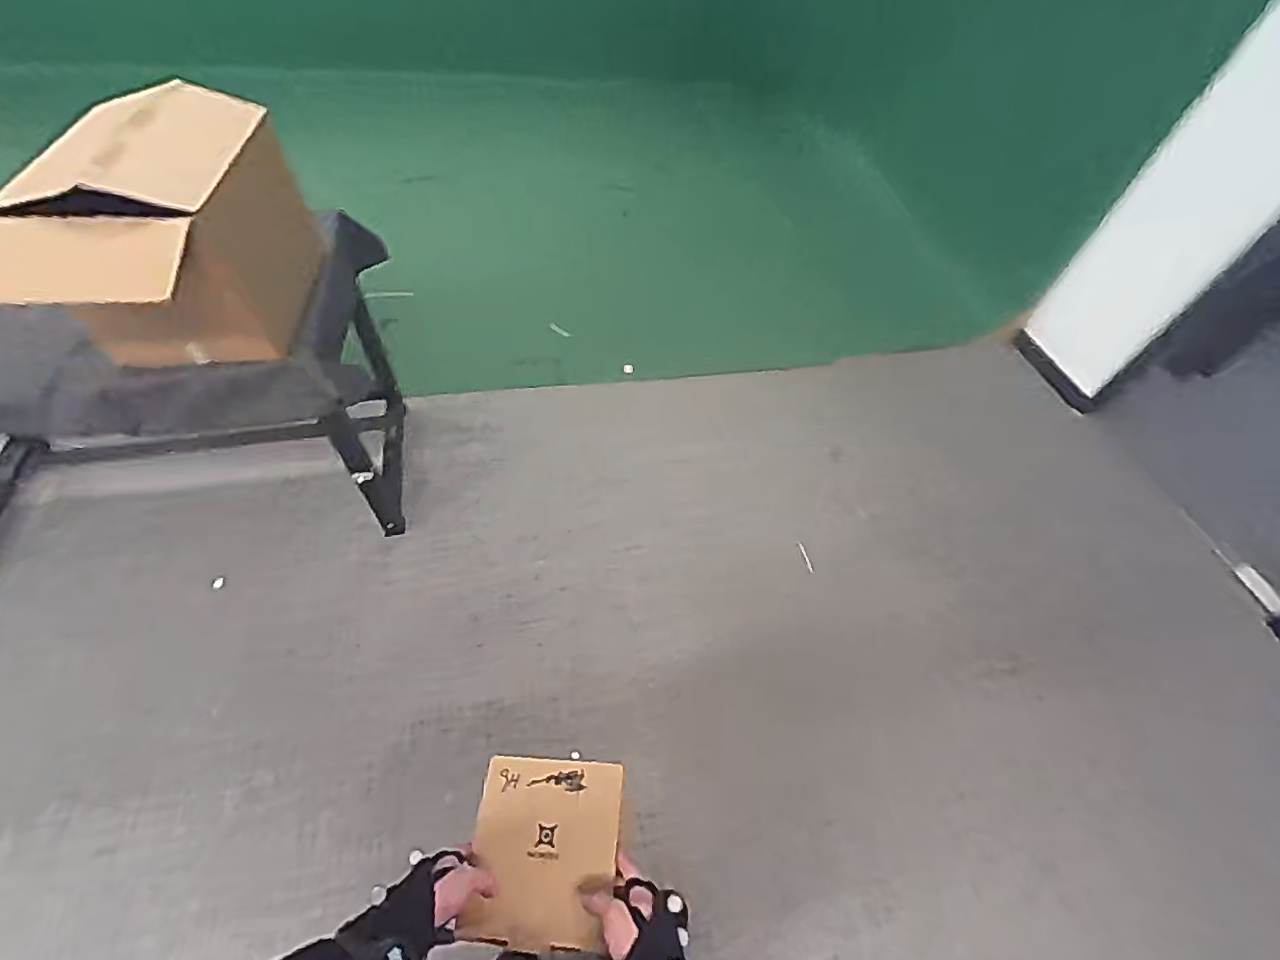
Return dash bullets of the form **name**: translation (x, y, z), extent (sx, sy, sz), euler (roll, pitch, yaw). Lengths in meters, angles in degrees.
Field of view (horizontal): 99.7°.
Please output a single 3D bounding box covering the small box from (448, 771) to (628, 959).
- **small box**: translation (-0.104, 0.463, 0.651), extent (0.168, 0.176, 0.179), euler (1, 55, 4)
